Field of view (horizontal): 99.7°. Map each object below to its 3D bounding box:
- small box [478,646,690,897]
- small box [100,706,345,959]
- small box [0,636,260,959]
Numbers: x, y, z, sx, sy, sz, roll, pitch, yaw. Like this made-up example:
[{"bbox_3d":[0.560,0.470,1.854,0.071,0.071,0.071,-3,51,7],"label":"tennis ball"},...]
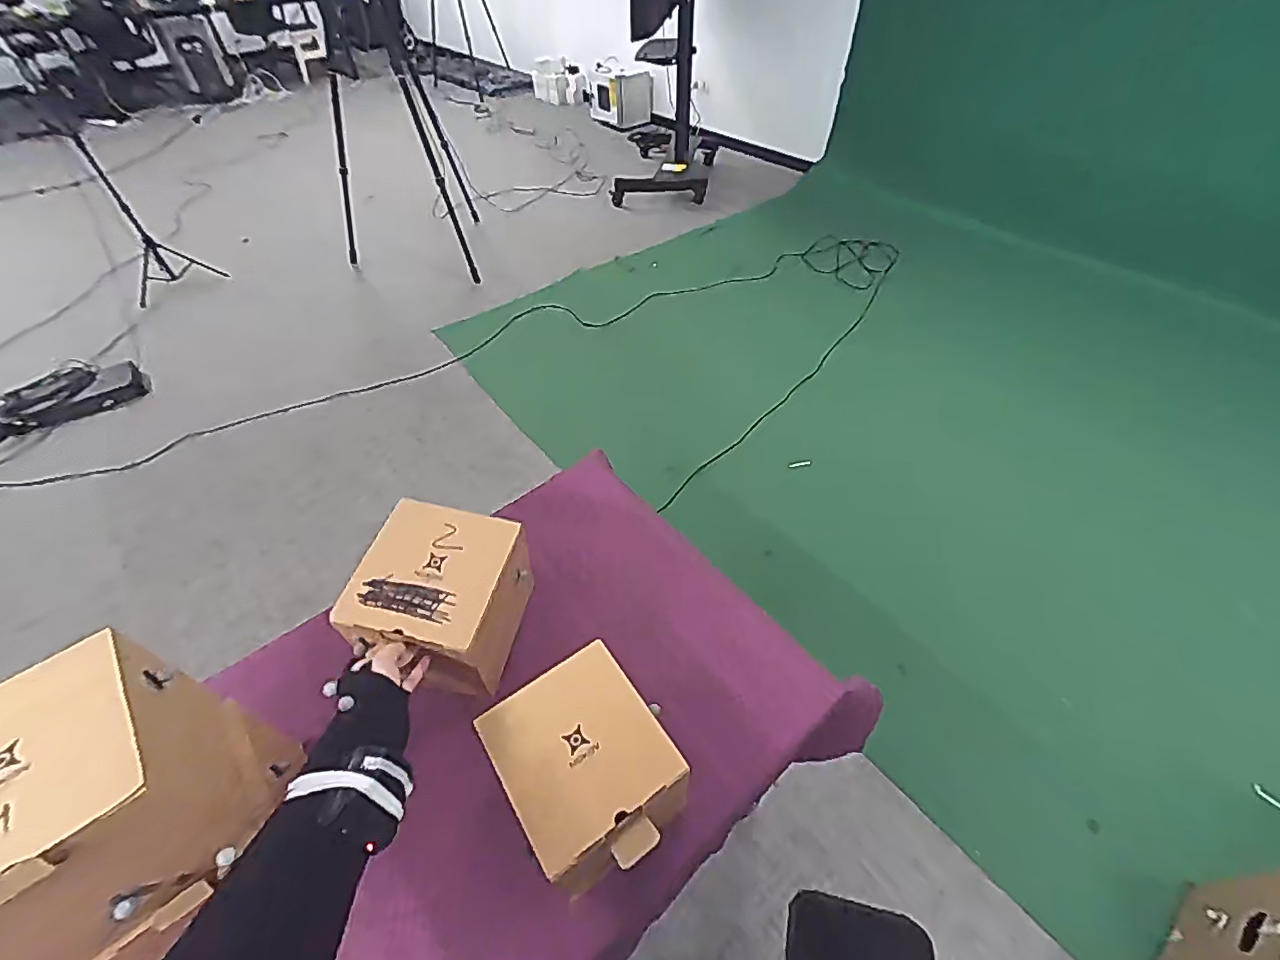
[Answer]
[{"bbox_3d":[-0.062,0.336,0.624,0.168,0.176,0.179,-28,53,-22],"label":"small box"},{"bbox_3d":[-0.458,0.392,0.589,0.168,0.176,0.179,-33,54,-25],"label":"small box"},{"bbox_3d":[-0.476,0.280,0.468,0.168,0.176,0.179,-33,54,-25],"label":"small box"}]
